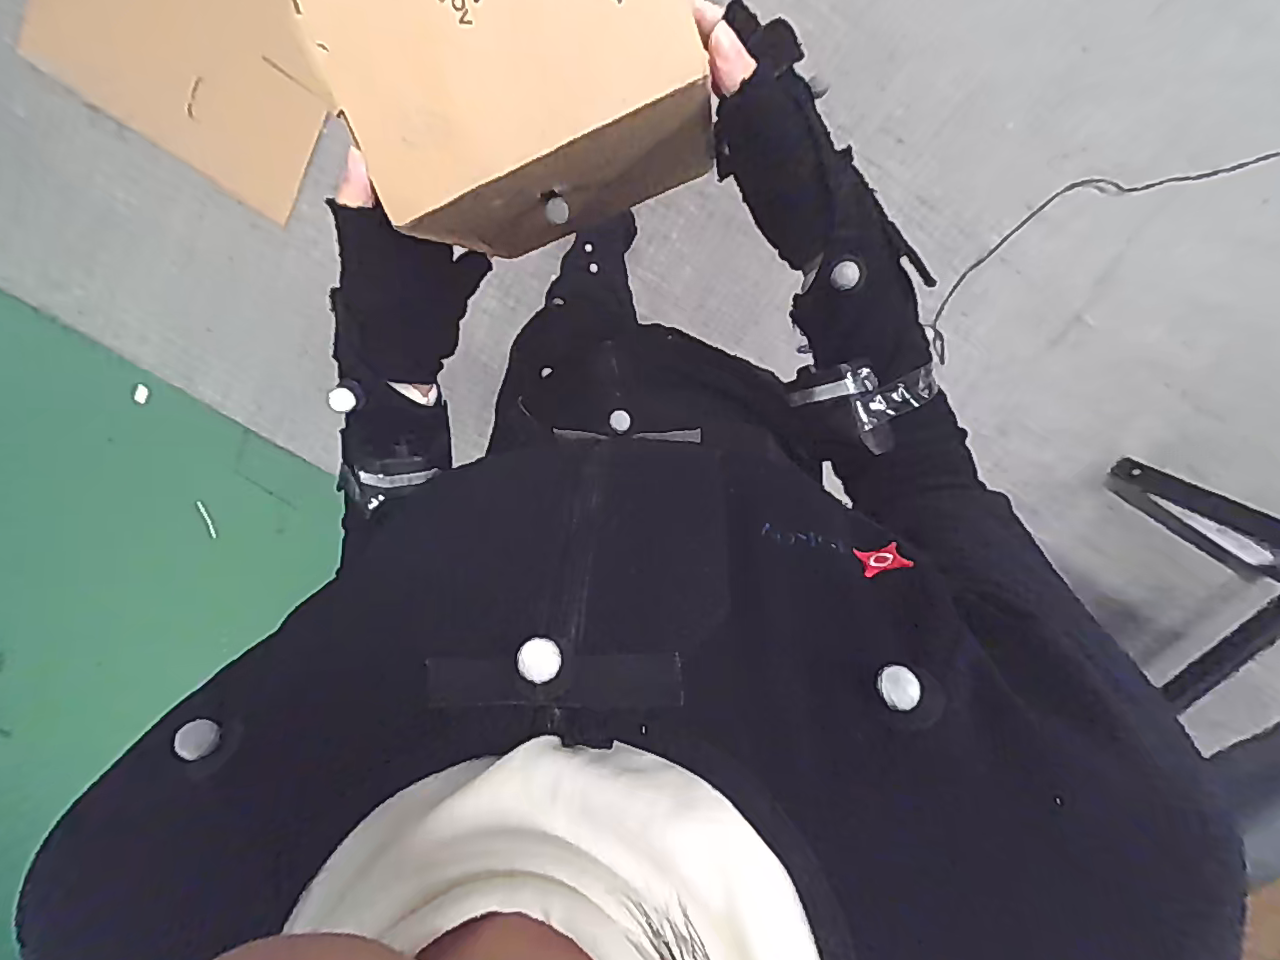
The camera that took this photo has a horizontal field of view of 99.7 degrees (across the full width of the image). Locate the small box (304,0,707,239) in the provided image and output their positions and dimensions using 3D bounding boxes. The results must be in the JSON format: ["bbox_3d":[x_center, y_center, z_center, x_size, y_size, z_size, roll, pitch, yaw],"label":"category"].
[{"bbox_3d":[-0.069,-0.270,0.326,0.179,0.176,0.168,-20,100,14],"label":"small box"}]
